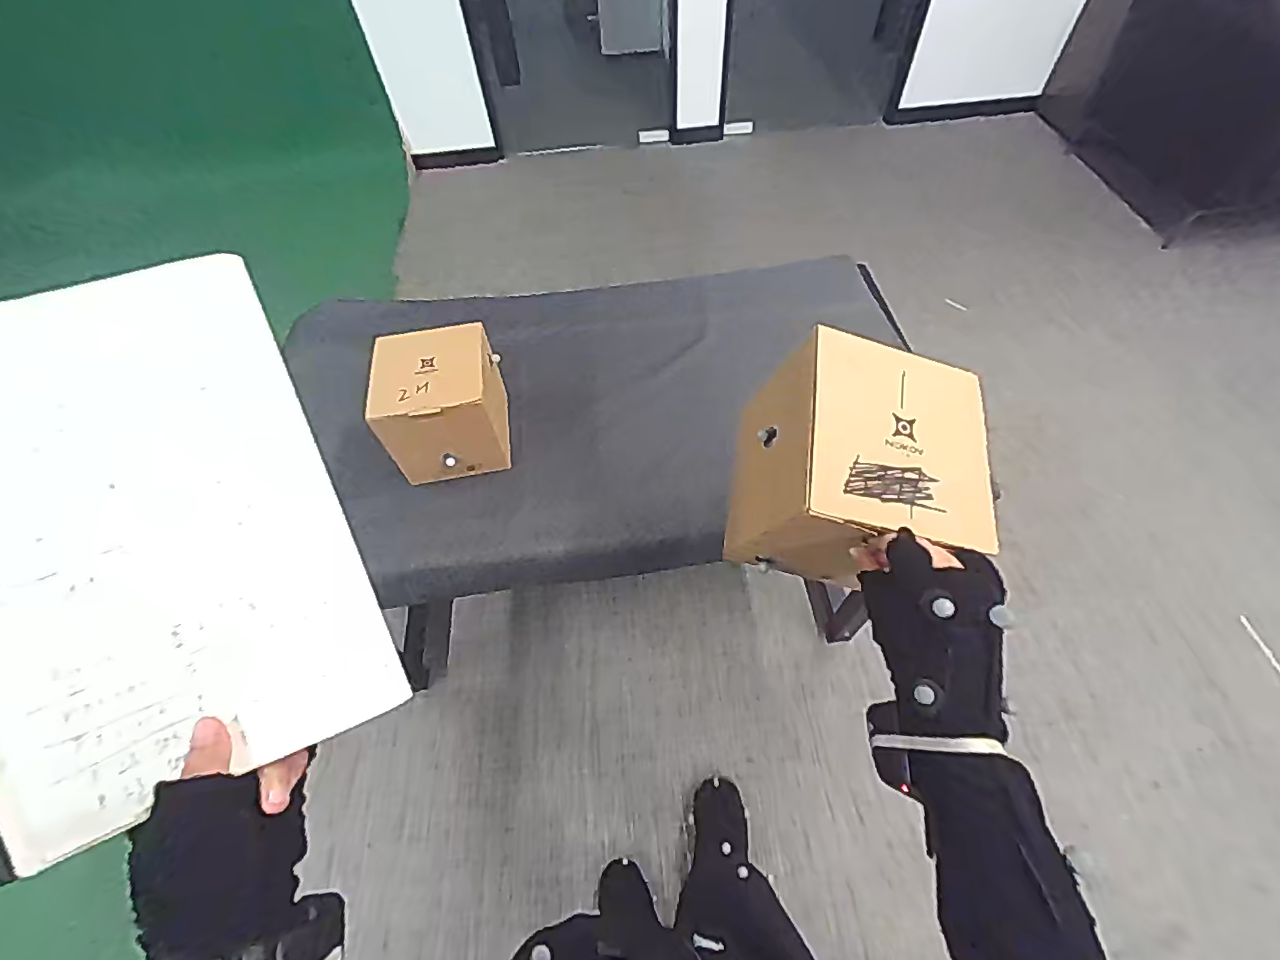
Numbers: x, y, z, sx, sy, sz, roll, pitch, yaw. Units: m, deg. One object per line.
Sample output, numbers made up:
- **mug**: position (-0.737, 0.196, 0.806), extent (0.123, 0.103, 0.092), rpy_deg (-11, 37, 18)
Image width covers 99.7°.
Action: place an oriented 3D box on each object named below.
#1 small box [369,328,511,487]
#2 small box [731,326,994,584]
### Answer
- **small box**: position (-0.309, -0.114, 0.870), extent (0.168, 0.176, 0.179), rpy_deg (-10, 55, -4)
- **small box**: position (0.198, -0.009, 0.523), extent (0.168, 0.176, 0.179), rpy_deg (15, 65, -10)
